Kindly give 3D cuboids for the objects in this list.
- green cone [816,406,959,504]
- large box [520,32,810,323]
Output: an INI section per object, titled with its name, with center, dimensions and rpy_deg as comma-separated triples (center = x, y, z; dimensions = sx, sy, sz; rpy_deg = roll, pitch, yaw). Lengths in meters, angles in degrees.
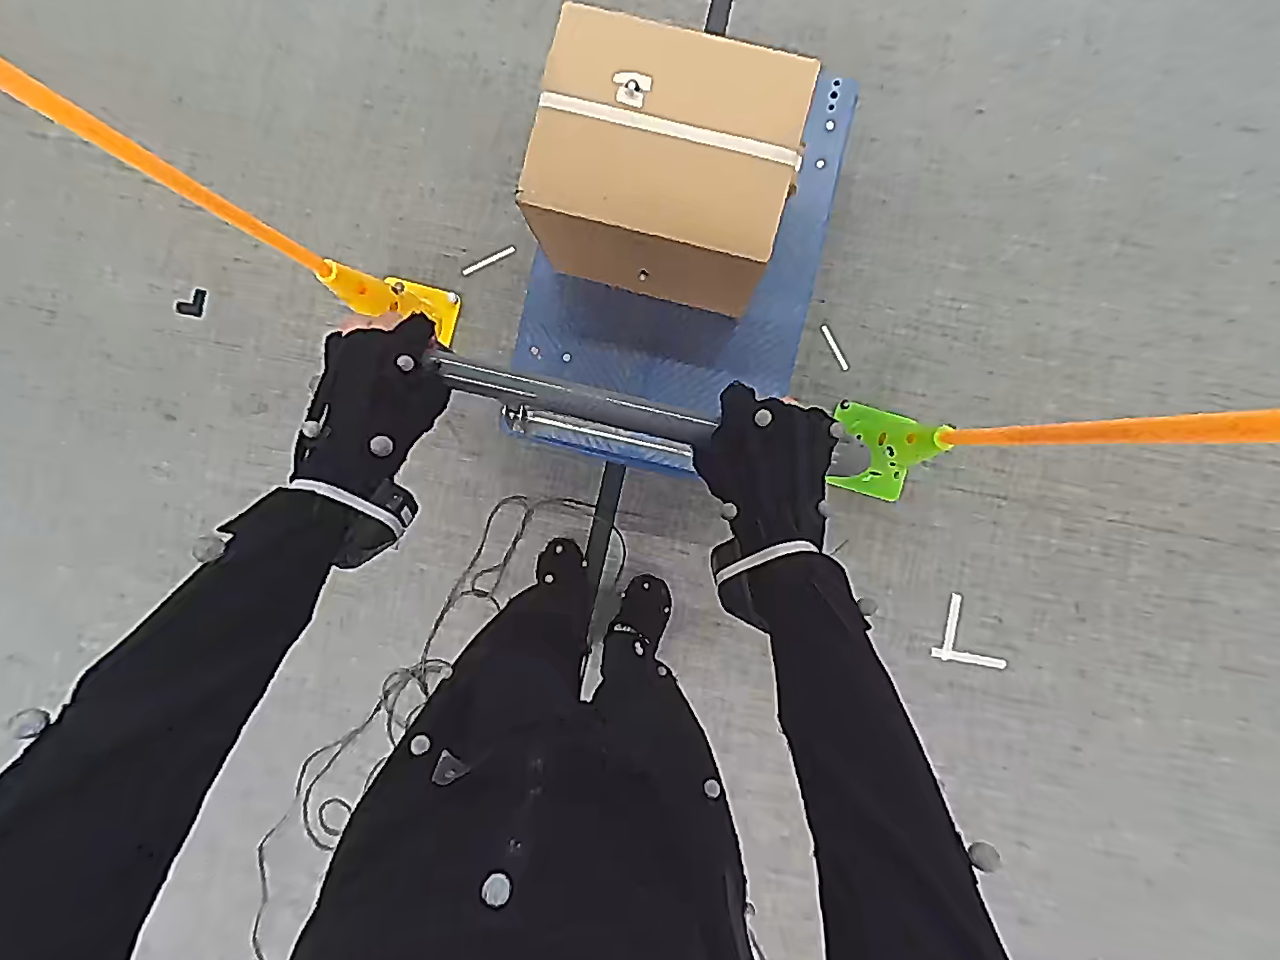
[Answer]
[green cone]
center = 0.531, -0.058, 1.113
dimensions = 0.202, 0.368, 0.200
rpy_deg = 16, 91, 1
[large box]
center = 0.047, -0.515, 0.993
dimensions = 0.408, 0.320, 0.320
rpy_deg = 15, 92, 3
